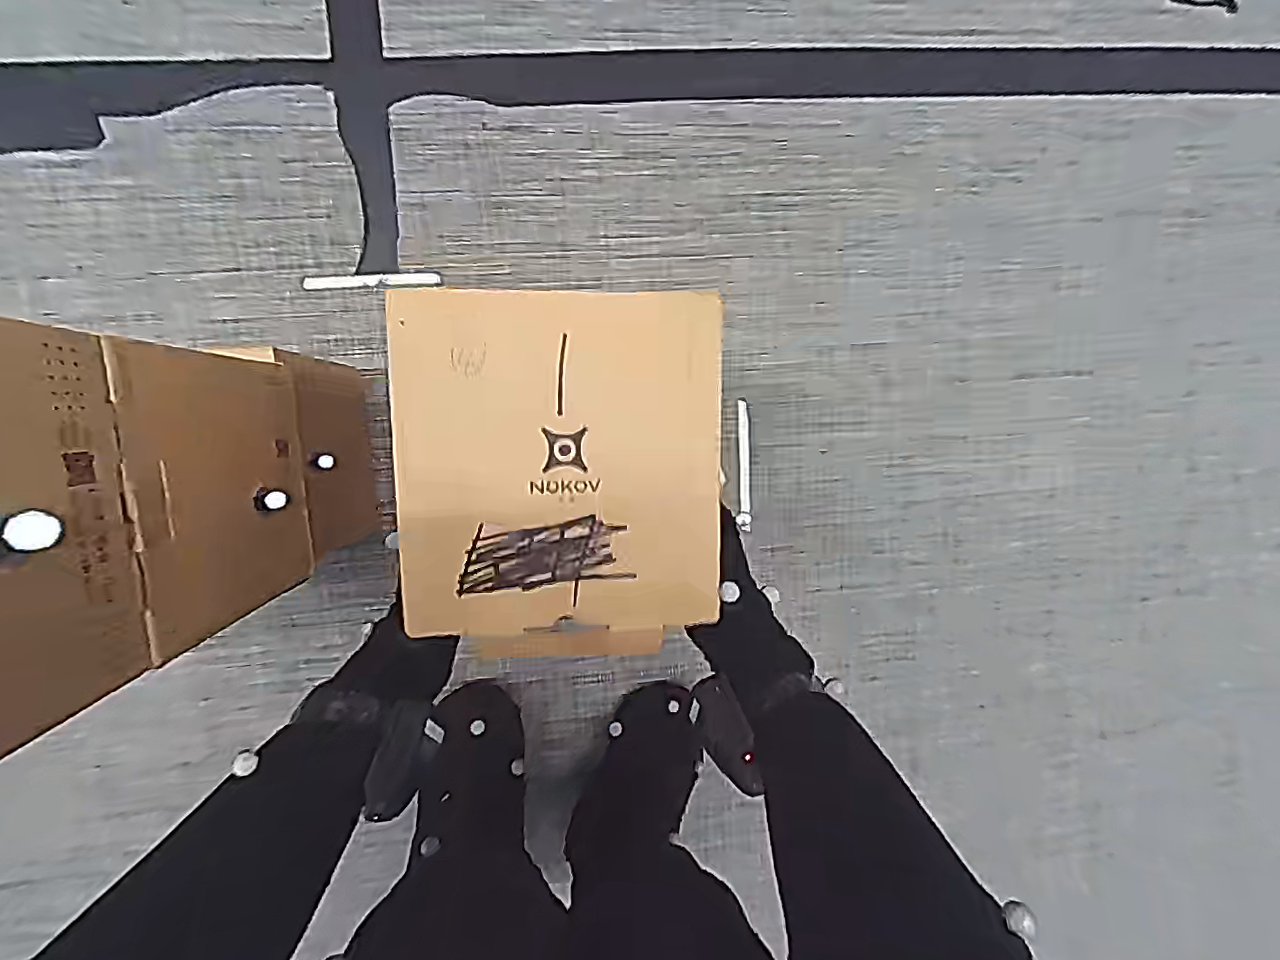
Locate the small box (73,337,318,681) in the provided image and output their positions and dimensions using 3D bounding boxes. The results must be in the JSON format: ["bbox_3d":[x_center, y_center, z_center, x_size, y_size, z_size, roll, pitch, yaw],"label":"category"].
[{"bbox_3d":[-0.329,0.012,0.324,0.179,0.176,0.168,-4,97,-7],"label":"small box"}]

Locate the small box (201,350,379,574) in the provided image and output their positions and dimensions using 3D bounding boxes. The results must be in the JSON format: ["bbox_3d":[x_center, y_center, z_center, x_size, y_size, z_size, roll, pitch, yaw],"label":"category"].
[{"bbox_3d":[-0.351,-0.014,0.483,0.168,0.176,0.179,-5,96,-7],"label":"small box"}]

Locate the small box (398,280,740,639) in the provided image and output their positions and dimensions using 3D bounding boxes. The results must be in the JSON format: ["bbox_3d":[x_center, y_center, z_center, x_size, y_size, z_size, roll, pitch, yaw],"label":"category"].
[{"bbox_3d":[-0.042,-0.015,0.346,0.168,0.176,0.179,0,96,-7],"label":"small box"}]
